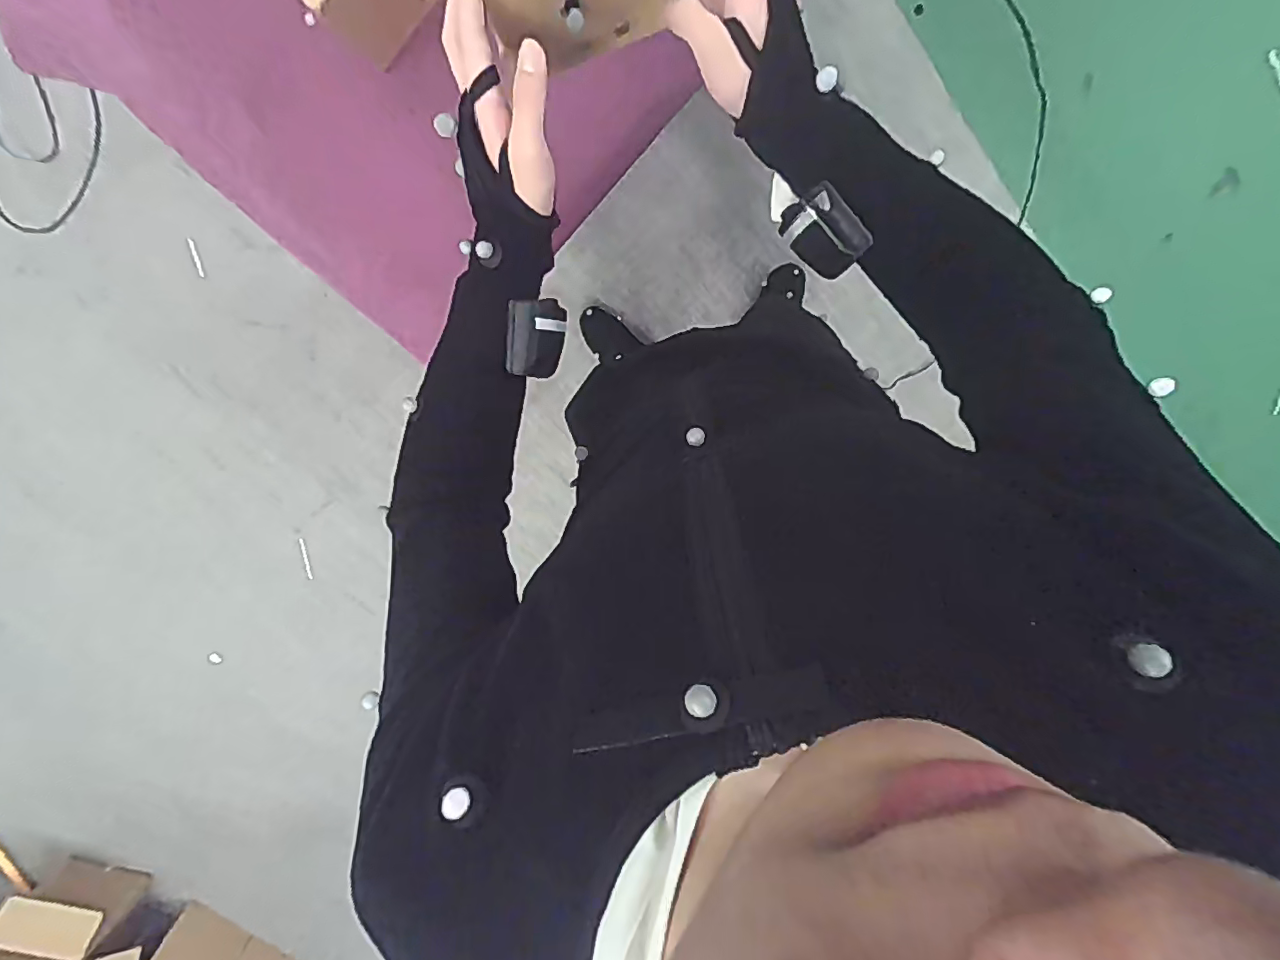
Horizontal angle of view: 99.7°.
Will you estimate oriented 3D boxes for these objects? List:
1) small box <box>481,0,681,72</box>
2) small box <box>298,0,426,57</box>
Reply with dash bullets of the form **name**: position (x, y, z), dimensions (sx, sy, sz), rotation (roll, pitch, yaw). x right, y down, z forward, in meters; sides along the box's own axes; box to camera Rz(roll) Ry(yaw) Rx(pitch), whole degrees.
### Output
- **small box**: position (-0.063, -0.448, 0.402), dimensions (0.168, 0.176, 0.179), rotation (-21, 105, 4)
- **small box**: position (-0.334, -0.605, 0.579), dimensions (0.168, 0.176, 0.179), rotation (-44, 106, 11)
